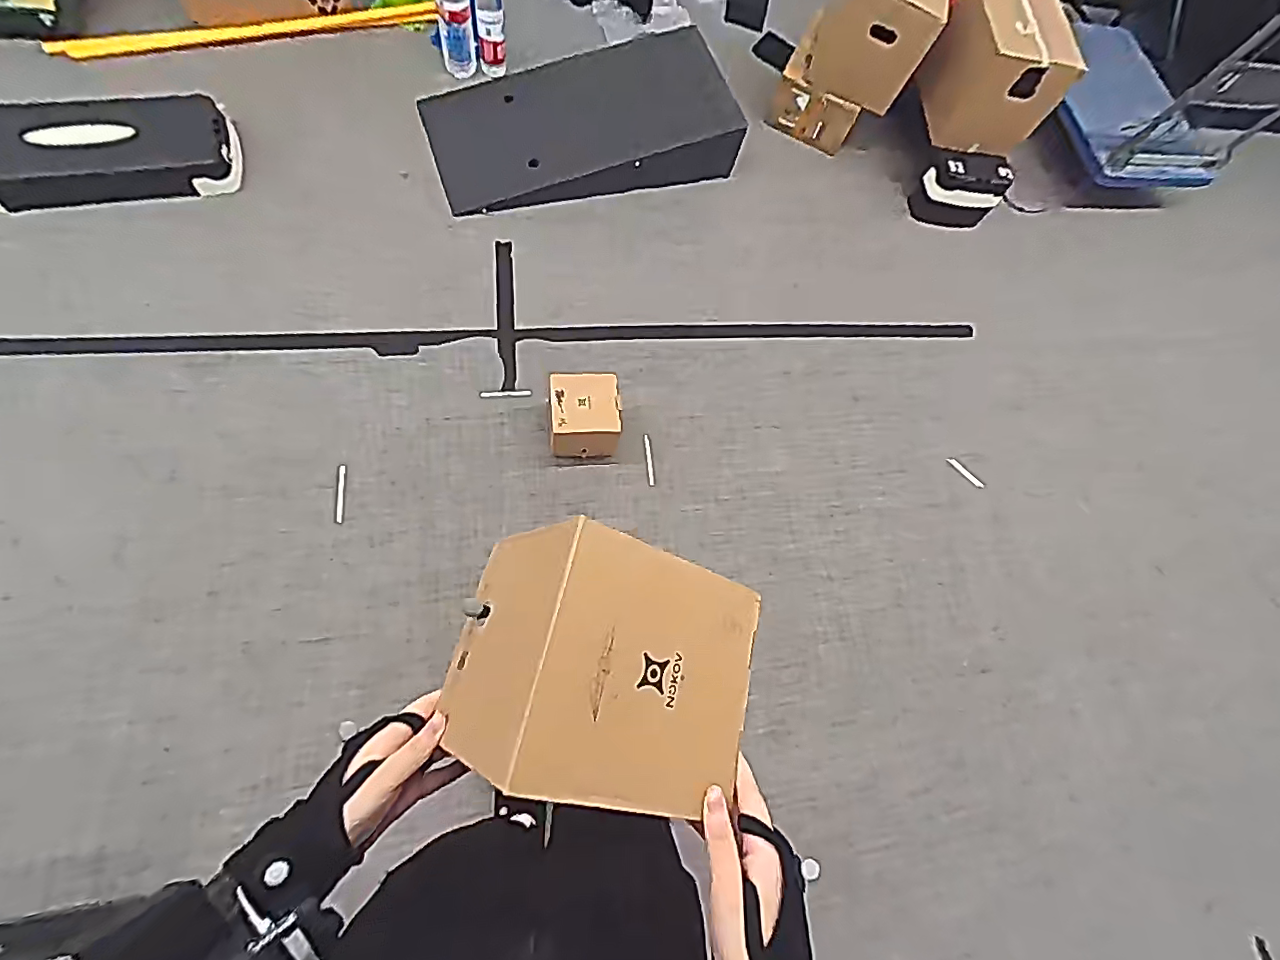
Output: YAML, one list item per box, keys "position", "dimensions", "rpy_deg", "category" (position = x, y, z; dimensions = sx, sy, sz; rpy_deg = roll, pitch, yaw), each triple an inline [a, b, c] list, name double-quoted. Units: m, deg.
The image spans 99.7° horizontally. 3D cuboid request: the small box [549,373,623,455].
- position: [-0.149, -0.171, 1.441]
  dimensions: [0.179, 0.176, 0.168]
  rpy_deg: [-1, 72, -12]
  category: "small box"
